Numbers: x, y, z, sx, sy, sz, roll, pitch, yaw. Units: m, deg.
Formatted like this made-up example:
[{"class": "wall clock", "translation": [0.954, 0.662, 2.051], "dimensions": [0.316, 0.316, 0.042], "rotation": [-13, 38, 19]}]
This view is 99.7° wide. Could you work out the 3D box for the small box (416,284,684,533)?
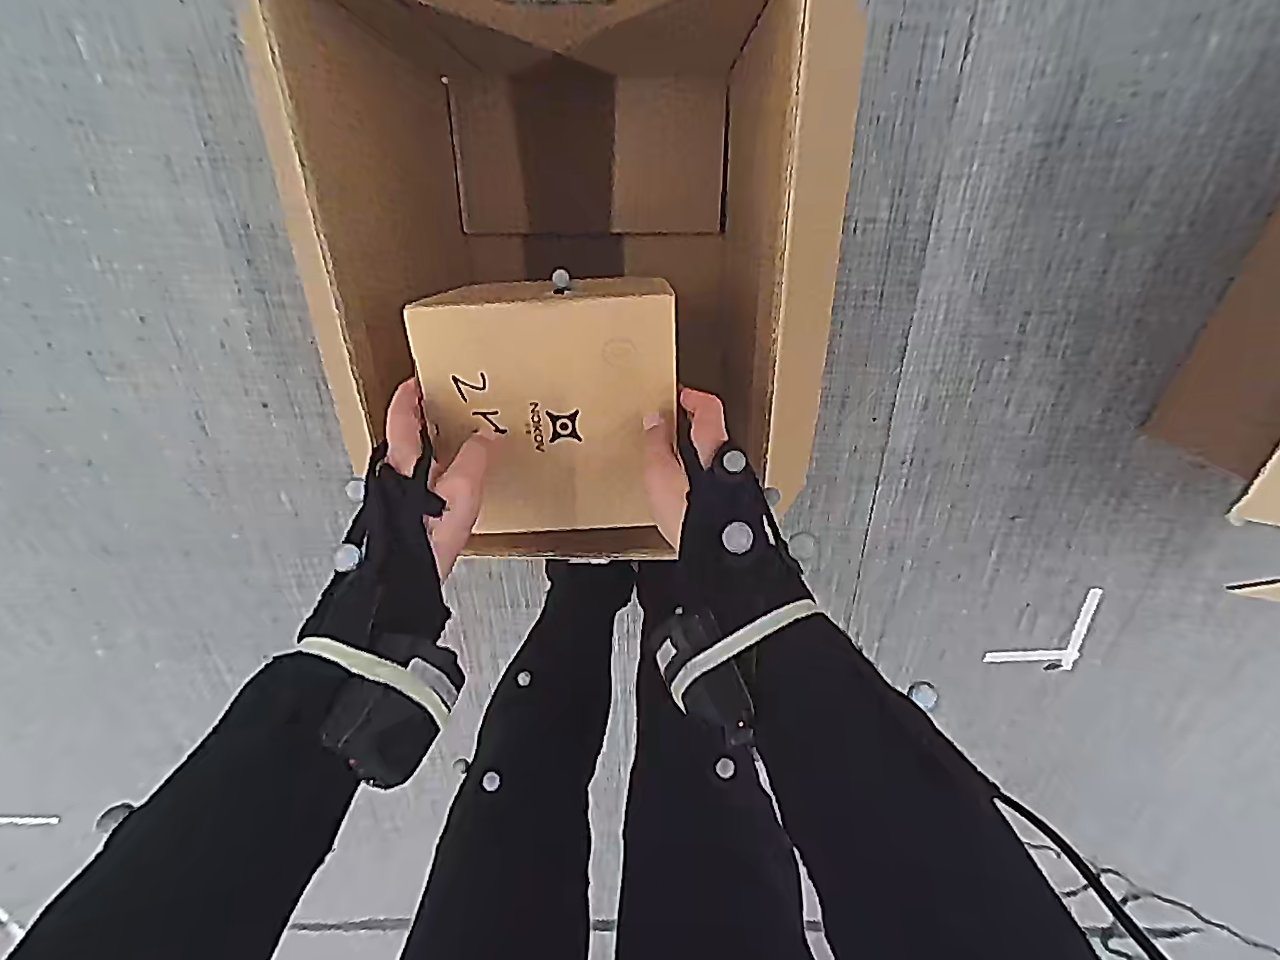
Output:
[{"class": "small box", "translation": [-0.059, -0.070, 0.453], "dimensions": [0.179, 0.176, 0.168], "rotation": [-2, 114, 0]}]
